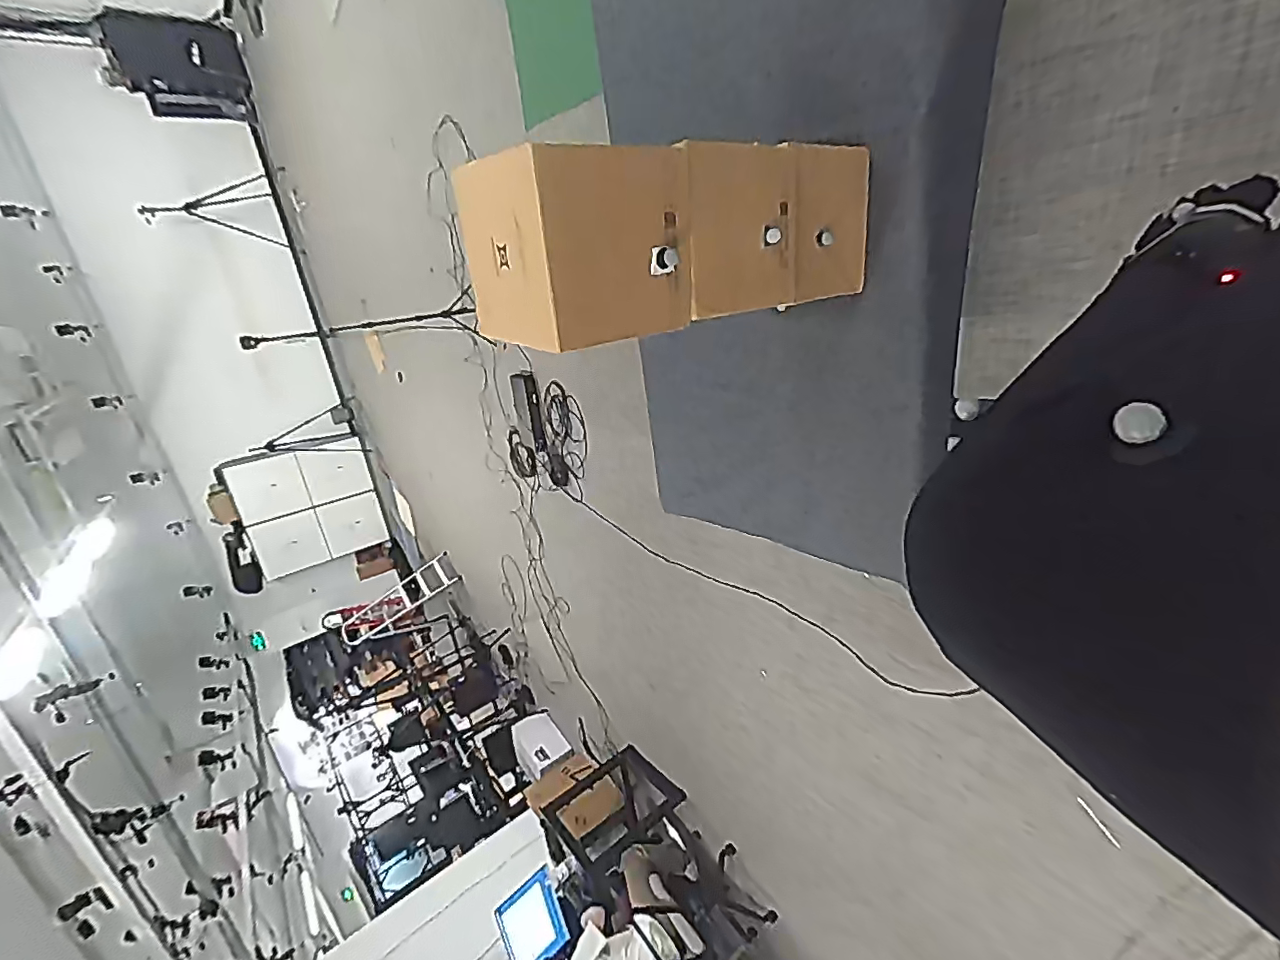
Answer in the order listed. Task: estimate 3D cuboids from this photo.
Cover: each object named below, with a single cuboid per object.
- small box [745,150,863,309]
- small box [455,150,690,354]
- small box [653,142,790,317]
[{"bbox_3d":[0.187,-0.339,0.745,0.168,0.176,0.179,21,125,50],"label":"small box"},{"bbox_3d":[-0.068,-0.238,0.568,0.179,0.176,0.168,24,128,47],"label":"small box"},{"bbox_3d":[0.059,-0.290,0.655,0.179,0.176,0.168,19,123,52],"label":"small box"}]
